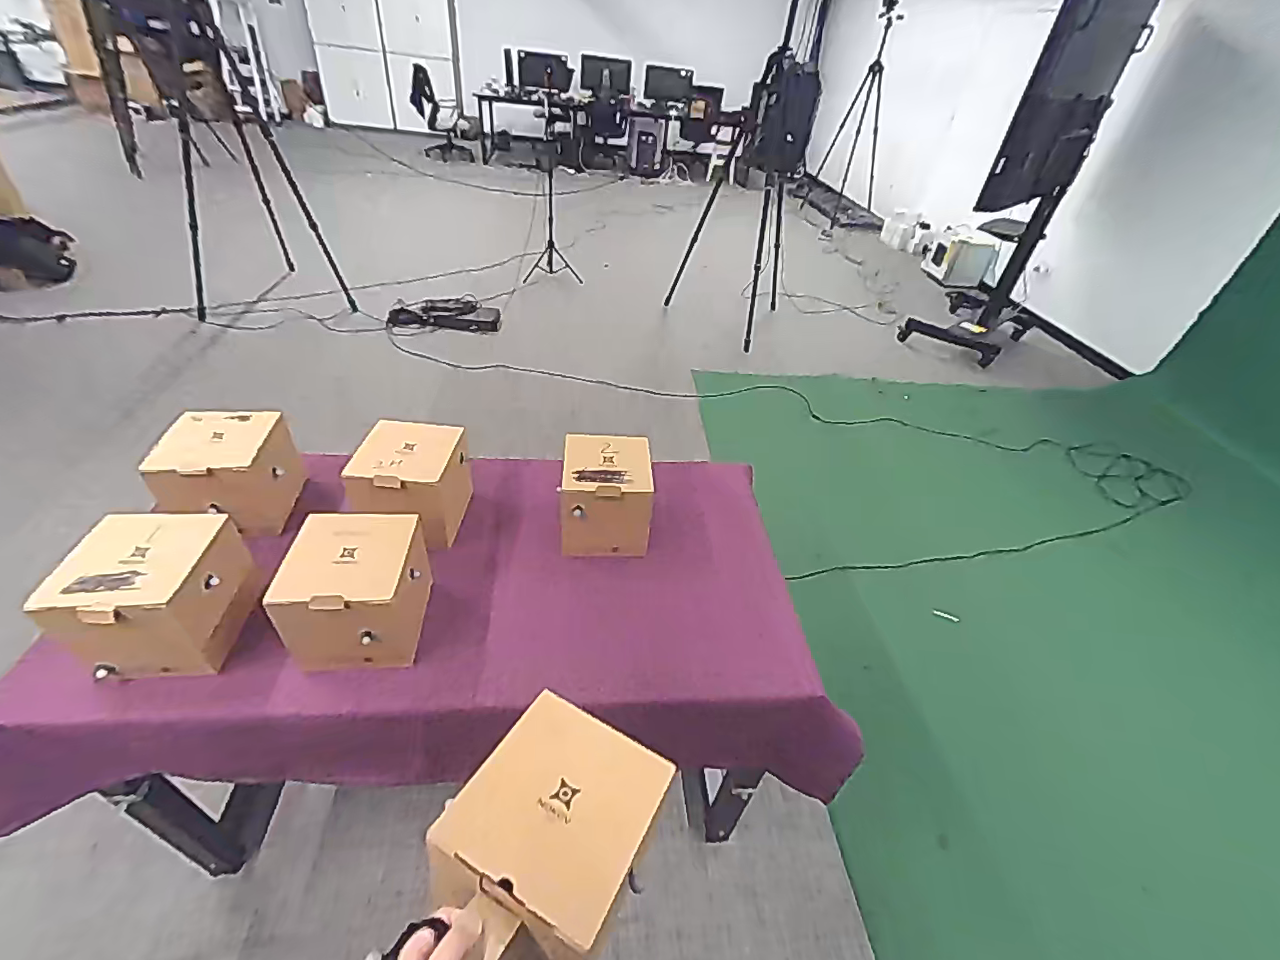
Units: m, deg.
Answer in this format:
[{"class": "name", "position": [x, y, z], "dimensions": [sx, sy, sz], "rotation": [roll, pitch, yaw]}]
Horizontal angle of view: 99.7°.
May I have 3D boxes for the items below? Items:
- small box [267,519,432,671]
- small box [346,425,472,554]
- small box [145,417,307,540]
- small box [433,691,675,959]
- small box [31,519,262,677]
[{"class": "small box", "position": [-0.432, 0.180, 0.843], "dimensions": [0.168, 0.176, 0.179], "rotation": [2, 38, -8]}, {"class": "small box", "position": [-0.430, 0.017, 1.041], "dimensions": [0.168, 0.176, 0.179], "rotation": [5, 39, -2]}, {"class": "small box", "position": [-0.755, 0.000, 1.014], "dimensions": [0.168, 0.176, 0.179], "rotation": [-1, 41, -11]}, {"class": "small box", "position": [-0.087, 0.364, 0.550], "dimensions": [0.168, 0.176, 0.179], "rotation": [23, 35, 18]}, {"class": "small box", "position": [-0.704, 0.177, 0.804], "dimensions": [0.168, 0.176, 0.179], "rotation": [1, 38, -8]}]
